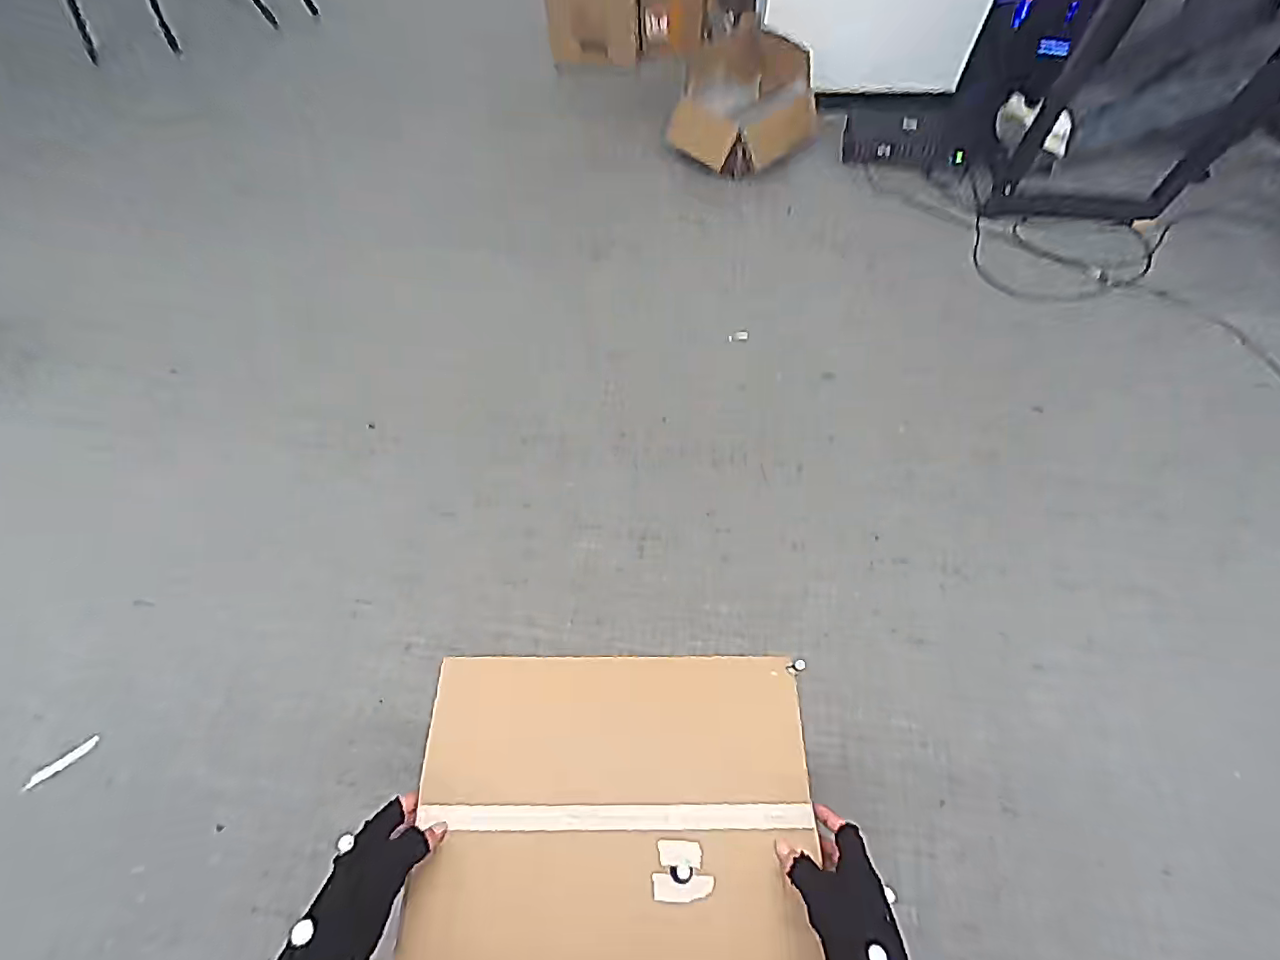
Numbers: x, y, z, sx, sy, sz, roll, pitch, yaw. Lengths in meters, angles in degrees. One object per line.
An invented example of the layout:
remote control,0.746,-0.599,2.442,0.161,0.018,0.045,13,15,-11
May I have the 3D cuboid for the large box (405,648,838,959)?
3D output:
large box,-0.020,0.403,0.682,0.408,0.320,0.320,0,63,0
